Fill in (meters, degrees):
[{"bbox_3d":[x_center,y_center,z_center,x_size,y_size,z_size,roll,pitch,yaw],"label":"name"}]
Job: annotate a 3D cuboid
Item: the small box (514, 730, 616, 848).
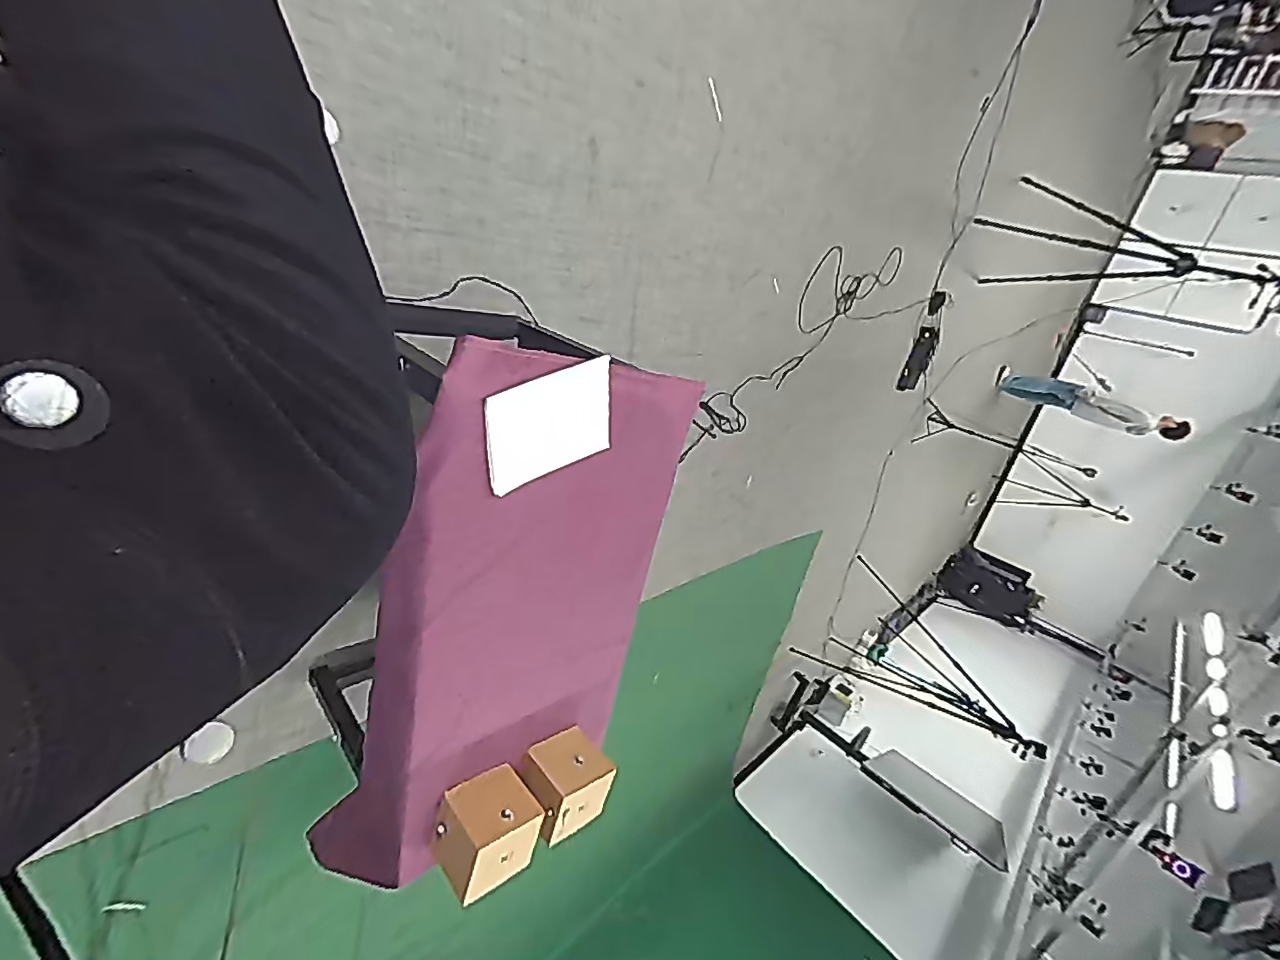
[{"bbox_3d":[-0.197,0.790,1.407,0.179,0.176,0.168,-3,115,-48],"label":"small box"}]
